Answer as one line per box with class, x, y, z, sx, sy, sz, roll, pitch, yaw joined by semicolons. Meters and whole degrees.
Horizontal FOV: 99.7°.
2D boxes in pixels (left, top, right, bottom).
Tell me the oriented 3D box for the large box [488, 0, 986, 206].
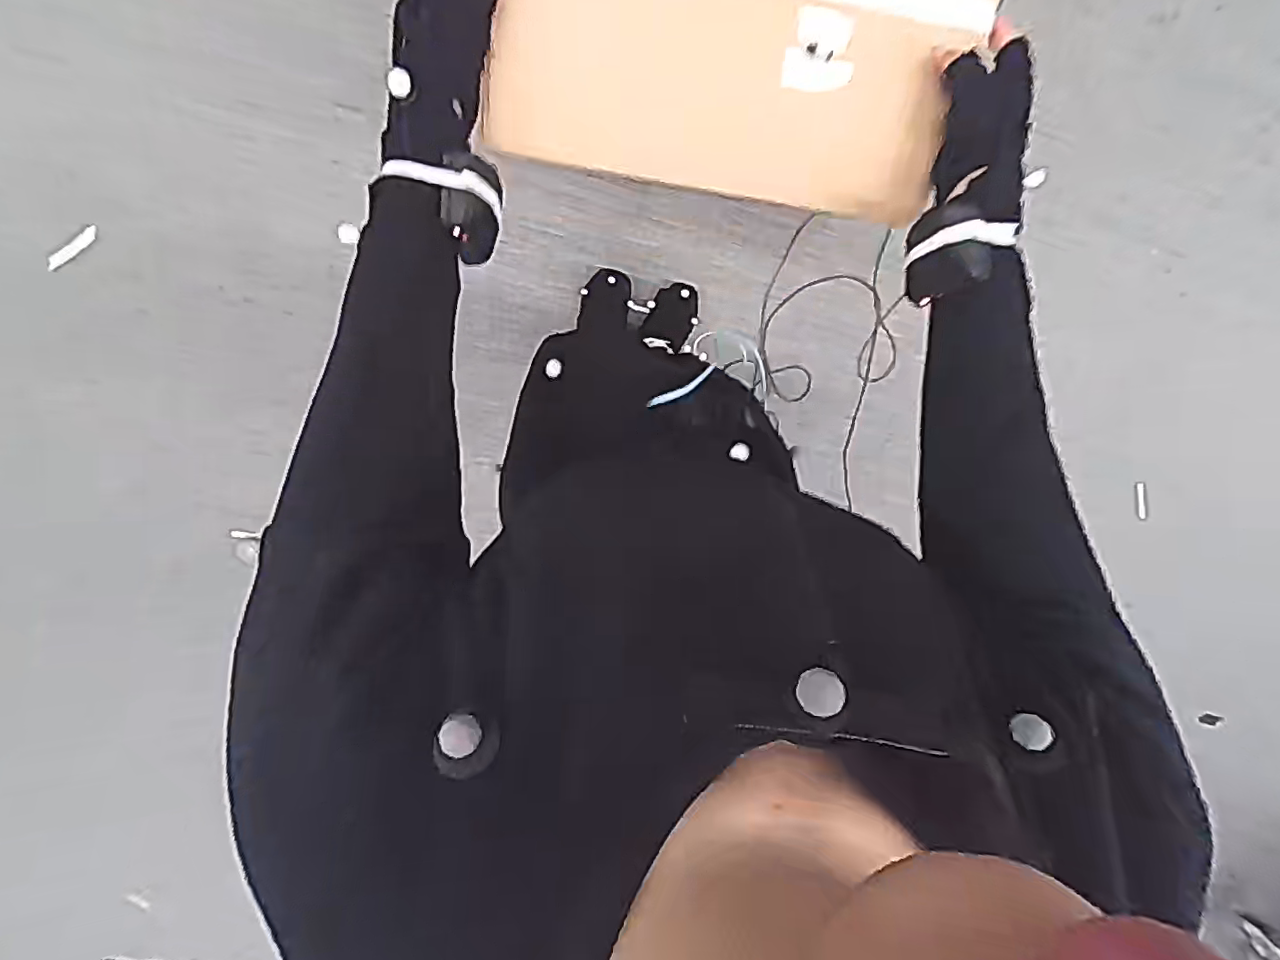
large box;0.074;-0.482;0.542;0.408;0.320;0.320;6;120;-8
